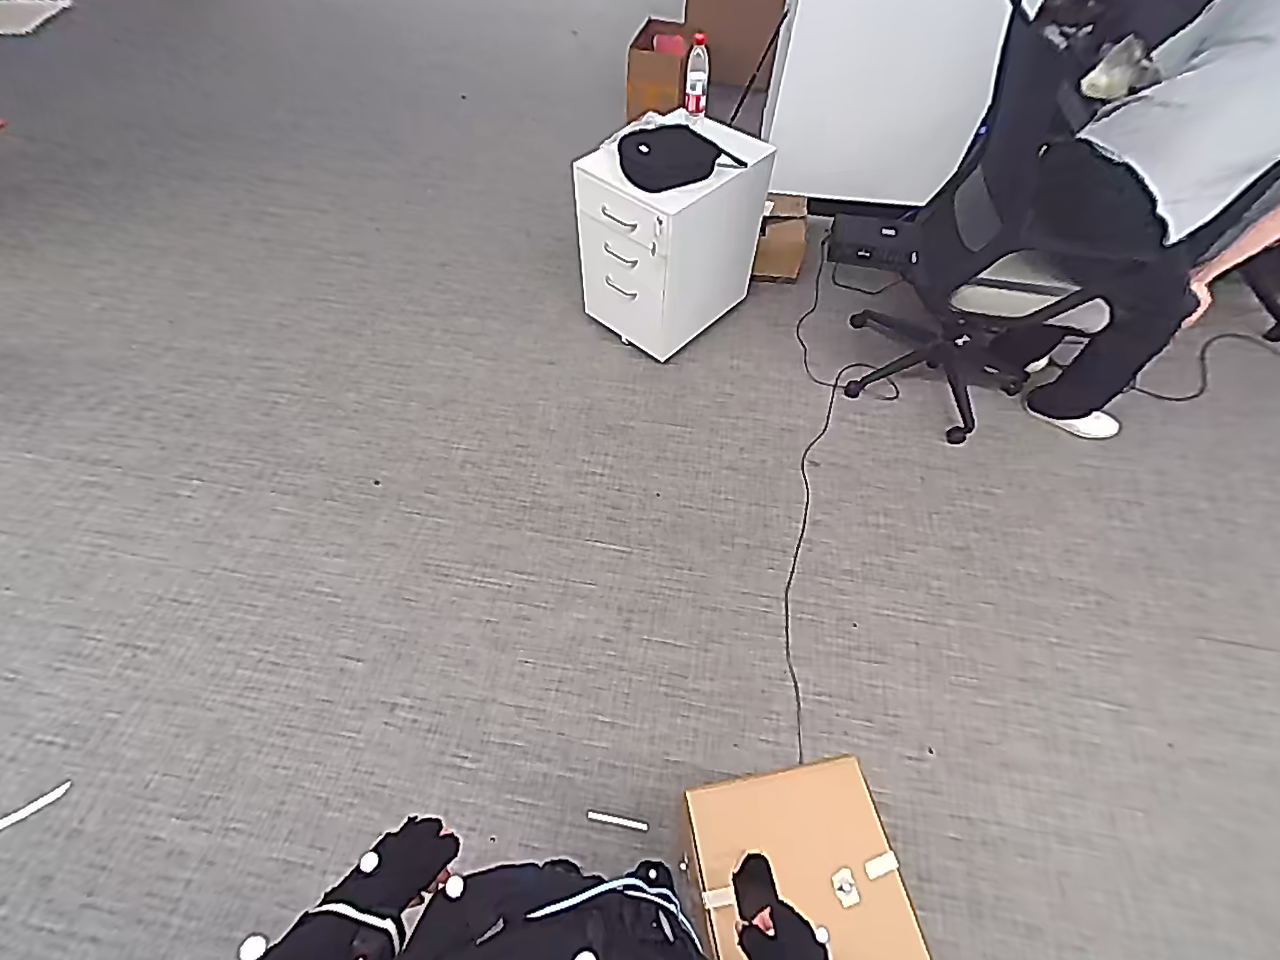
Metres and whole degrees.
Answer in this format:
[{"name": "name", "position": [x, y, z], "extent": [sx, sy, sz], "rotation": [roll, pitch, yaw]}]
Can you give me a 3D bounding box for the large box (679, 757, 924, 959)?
[{"name": "large box", "position": [0.260, 0.750, 1.023], "extent": [0.320, 0.408, 0.320], "rotation": [-9, 56, -4]}]
